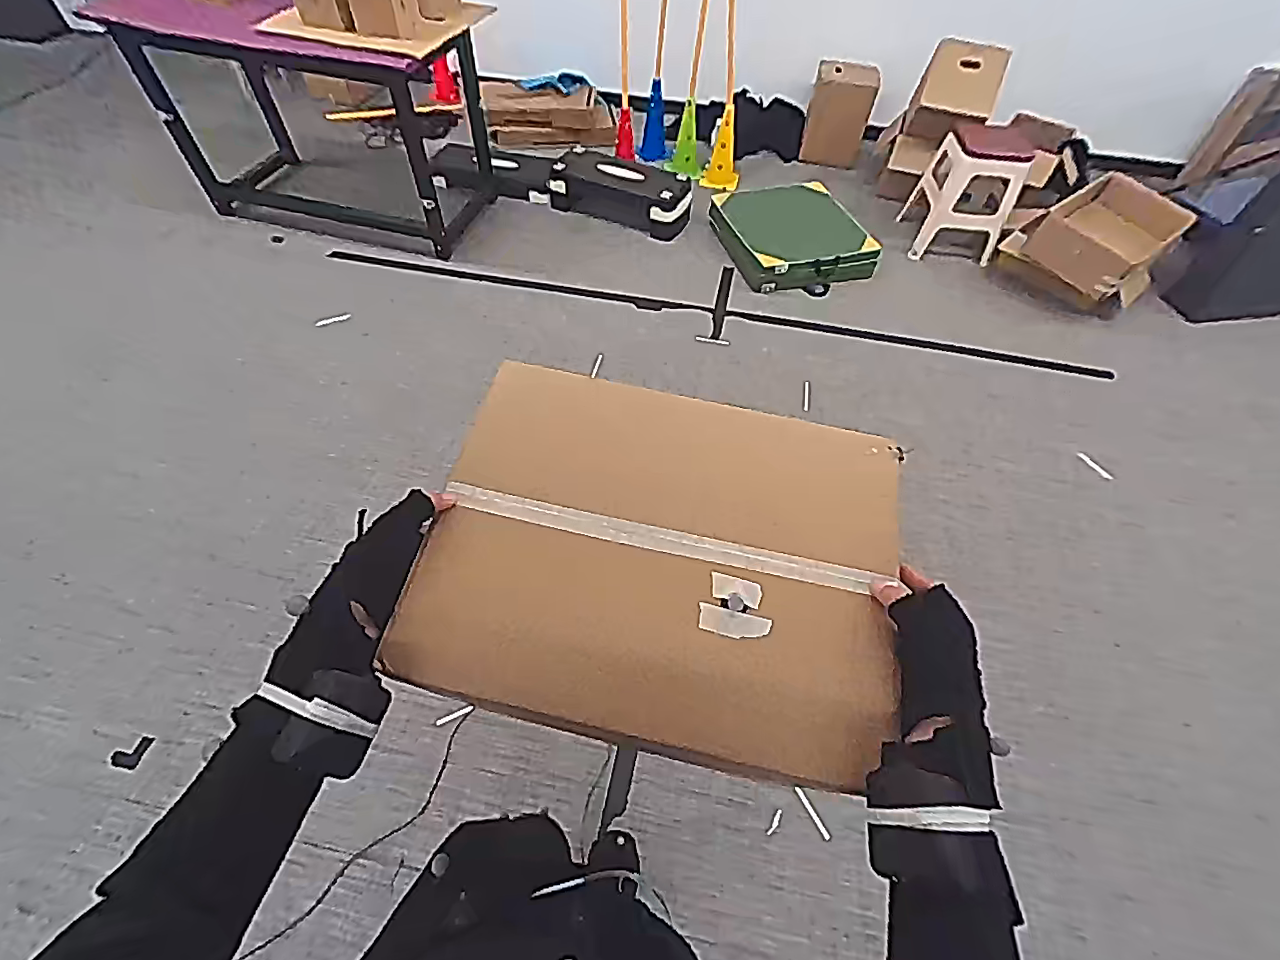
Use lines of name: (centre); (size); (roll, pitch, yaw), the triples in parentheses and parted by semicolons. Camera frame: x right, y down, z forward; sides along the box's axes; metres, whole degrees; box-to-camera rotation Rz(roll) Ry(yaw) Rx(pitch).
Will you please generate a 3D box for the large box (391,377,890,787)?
large box: (0.015, 0.130, 0.616); (0.408, 0.320, 0.320); (12, 64, 3)
